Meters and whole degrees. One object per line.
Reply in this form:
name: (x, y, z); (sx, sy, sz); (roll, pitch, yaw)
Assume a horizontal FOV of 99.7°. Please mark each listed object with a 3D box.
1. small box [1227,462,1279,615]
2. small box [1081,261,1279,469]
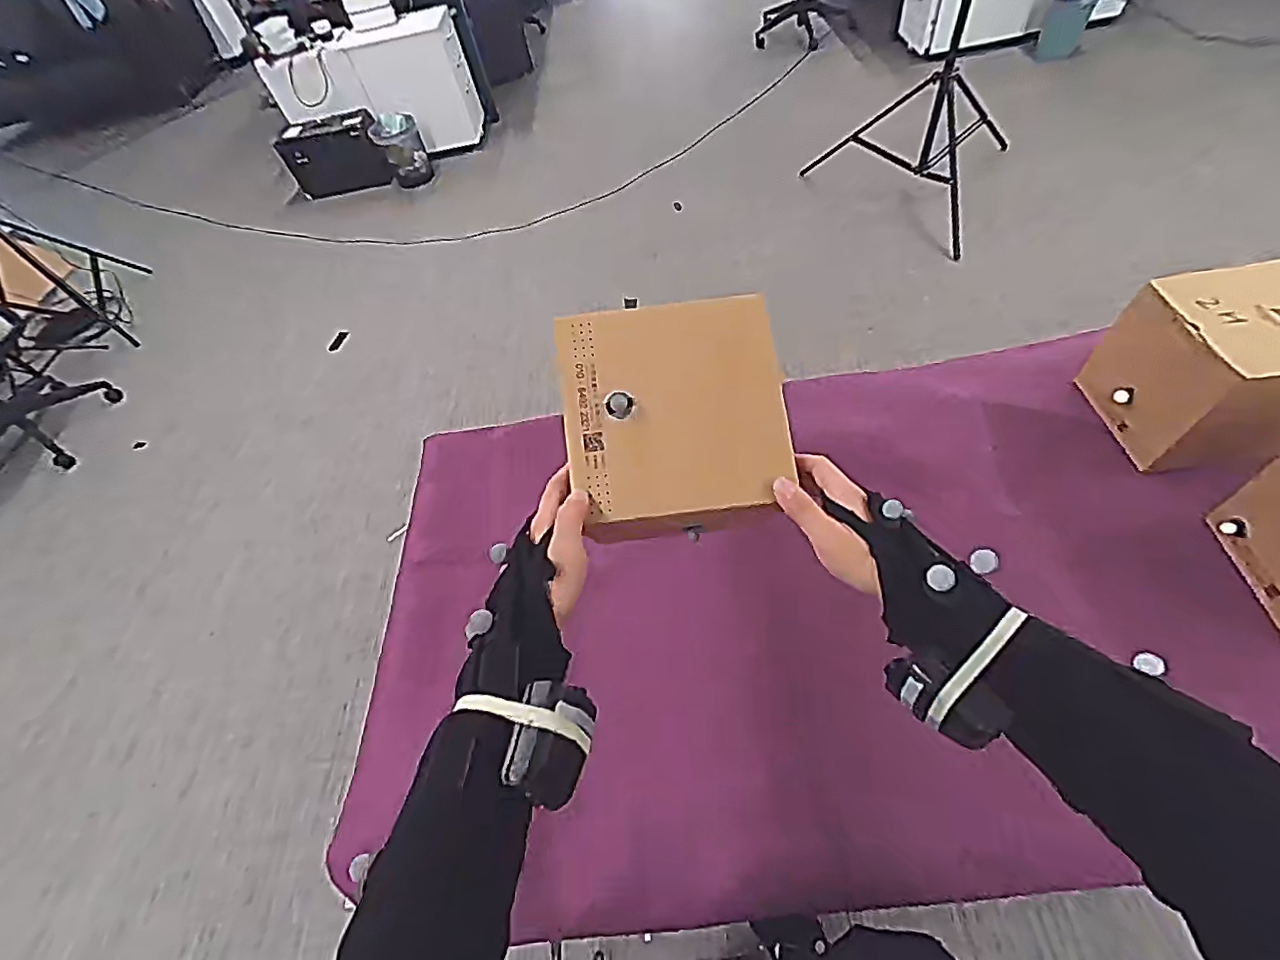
small box: (0.728, 0.055, 0.506); (0.179, 0.176, 0.168); (-3, 53, 8)
small box: (0.693, -0.132, 0.646); (0.179, 0.176, 0.168); (-8, 55, 5)
